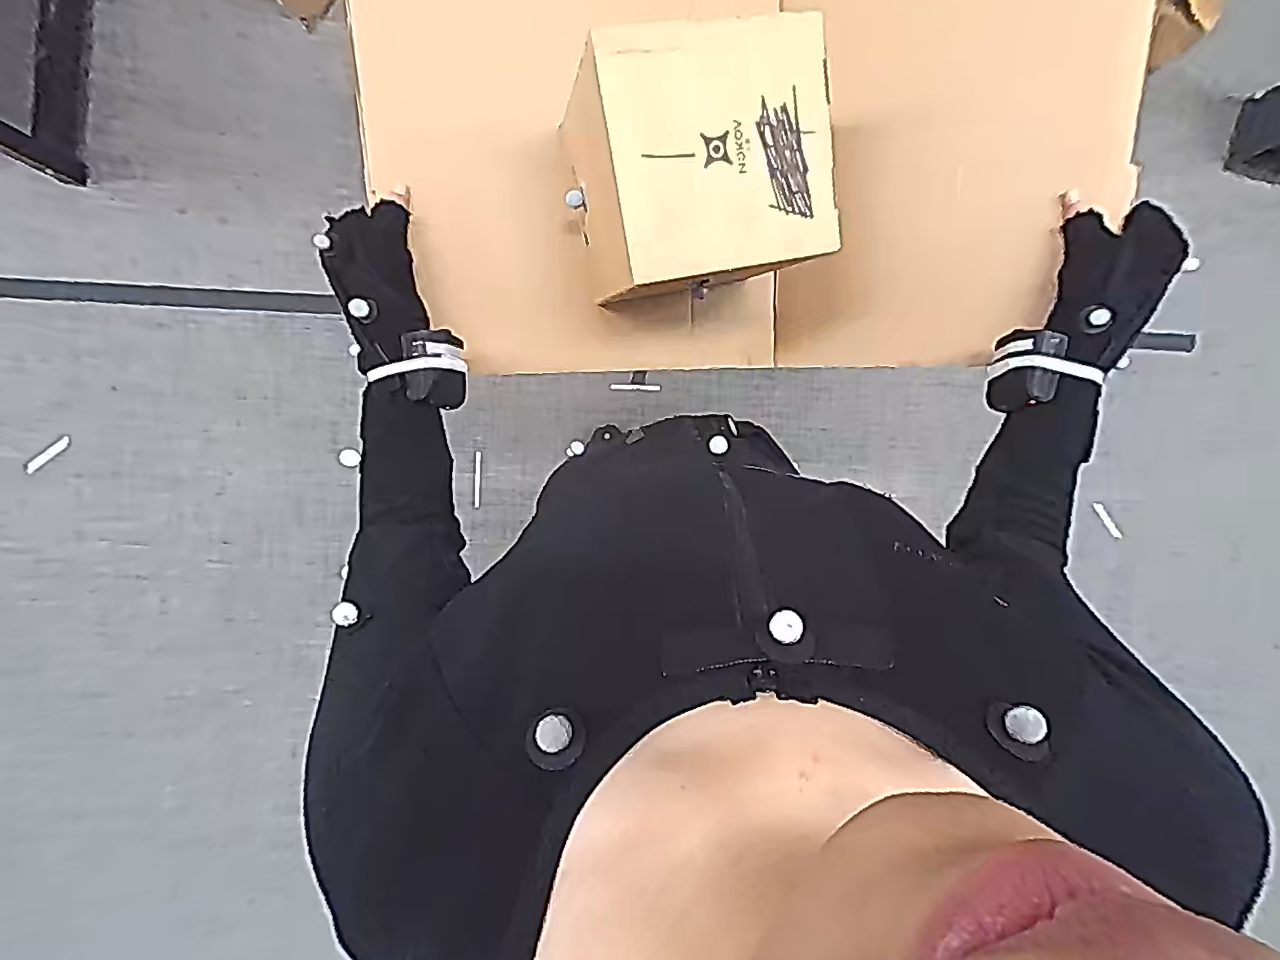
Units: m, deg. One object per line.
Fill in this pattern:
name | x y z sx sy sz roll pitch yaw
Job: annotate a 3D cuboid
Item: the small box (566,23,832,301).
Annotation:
small box | 0.043 -0.262 0.481 0.179 0.176 0.168 -14 106 -11
